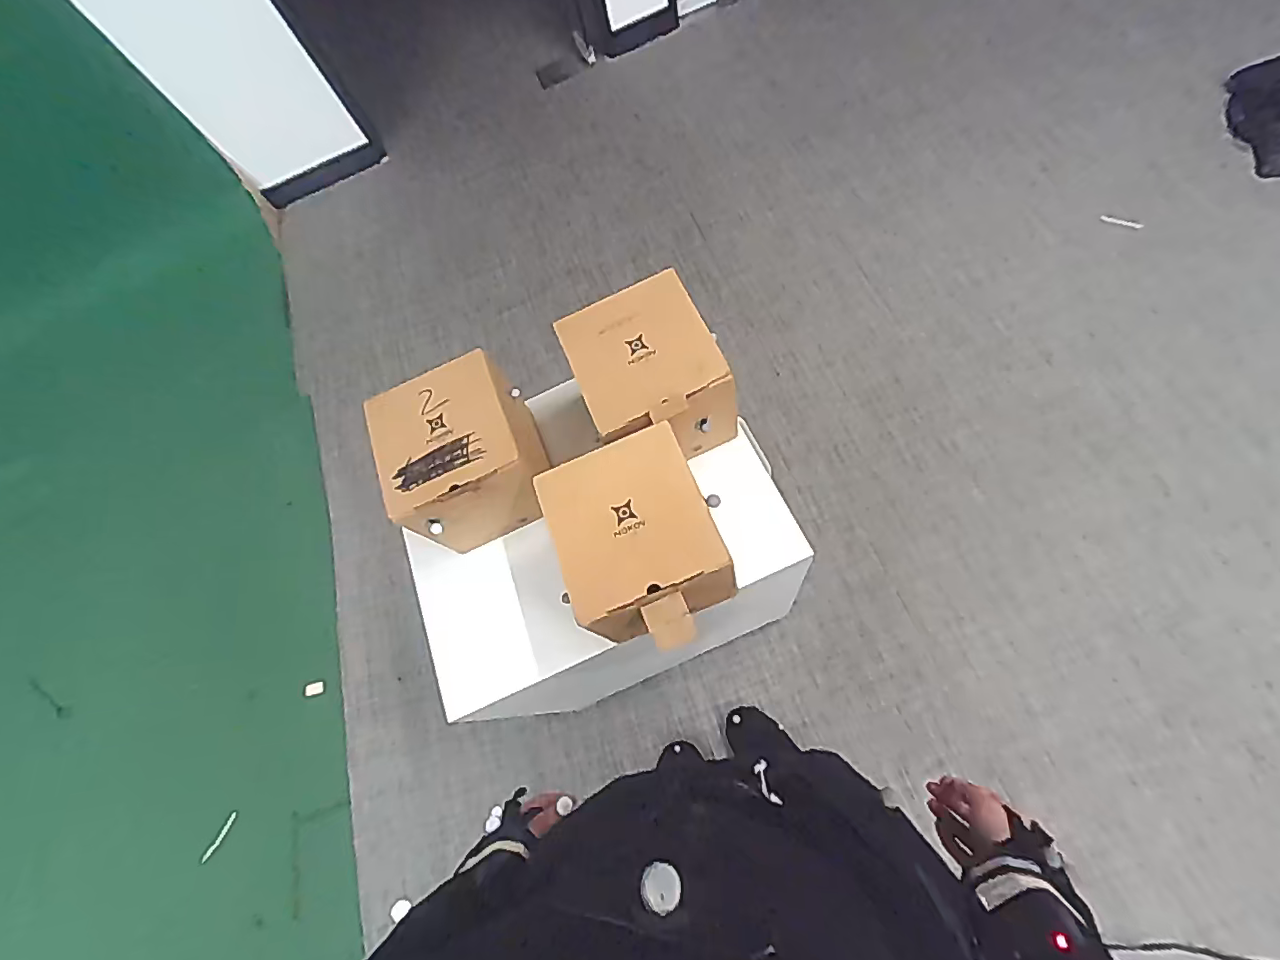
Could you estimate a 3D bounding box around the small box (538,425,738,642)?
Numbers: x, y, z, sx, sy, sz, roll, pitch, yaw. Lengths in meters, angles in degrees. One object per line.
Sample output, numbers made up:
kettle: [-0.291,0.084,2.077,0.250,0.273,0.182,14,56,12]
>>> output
small box: [0.004,0.071,0.630,0.168,0.176,0.179,-24,66,1]

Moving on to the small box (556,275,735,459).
small box: [0.016,-0.120,0.704,0.168,0.176,0.179,-25,65,0]
